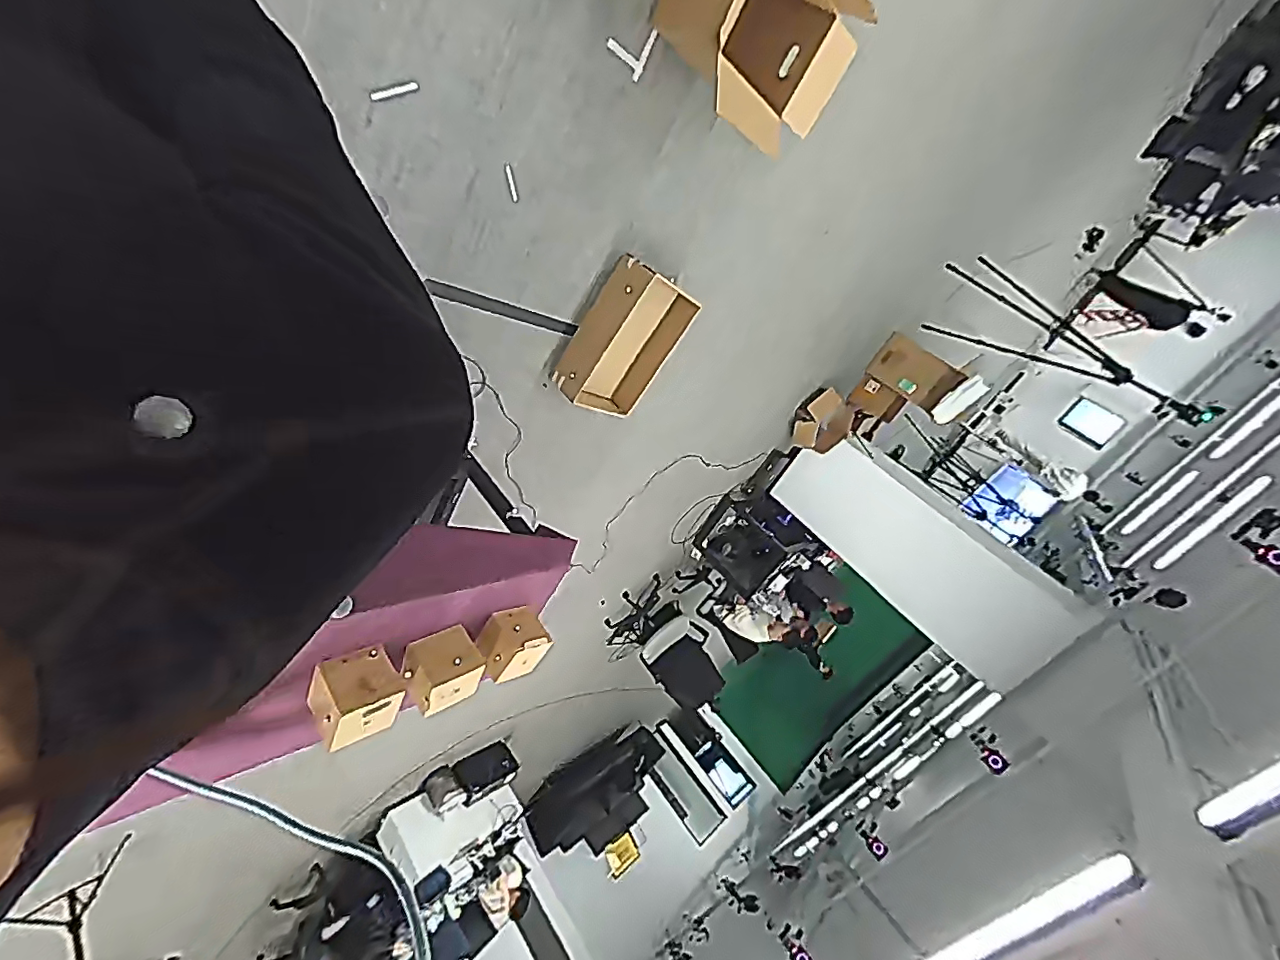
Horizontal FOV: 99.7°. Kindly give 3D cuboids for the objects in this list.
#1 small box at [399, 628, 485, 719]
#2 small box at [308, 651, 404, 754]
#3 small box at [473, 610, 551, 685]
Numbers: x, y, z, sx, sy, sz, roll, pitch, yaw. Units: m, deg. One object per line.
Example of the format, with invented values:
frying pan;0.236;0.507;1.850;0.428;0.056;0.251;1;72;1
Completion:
small box;-0.610;0.586;1.661;0.179;0.176;0.168;-13;139;-46
small box;-0.763;0.581;1.444;0.168;0.176;0.179;-8;137;-49
small box;-0.445;0.566;1.863;0.168;0.176;0.179;4;127;-55
